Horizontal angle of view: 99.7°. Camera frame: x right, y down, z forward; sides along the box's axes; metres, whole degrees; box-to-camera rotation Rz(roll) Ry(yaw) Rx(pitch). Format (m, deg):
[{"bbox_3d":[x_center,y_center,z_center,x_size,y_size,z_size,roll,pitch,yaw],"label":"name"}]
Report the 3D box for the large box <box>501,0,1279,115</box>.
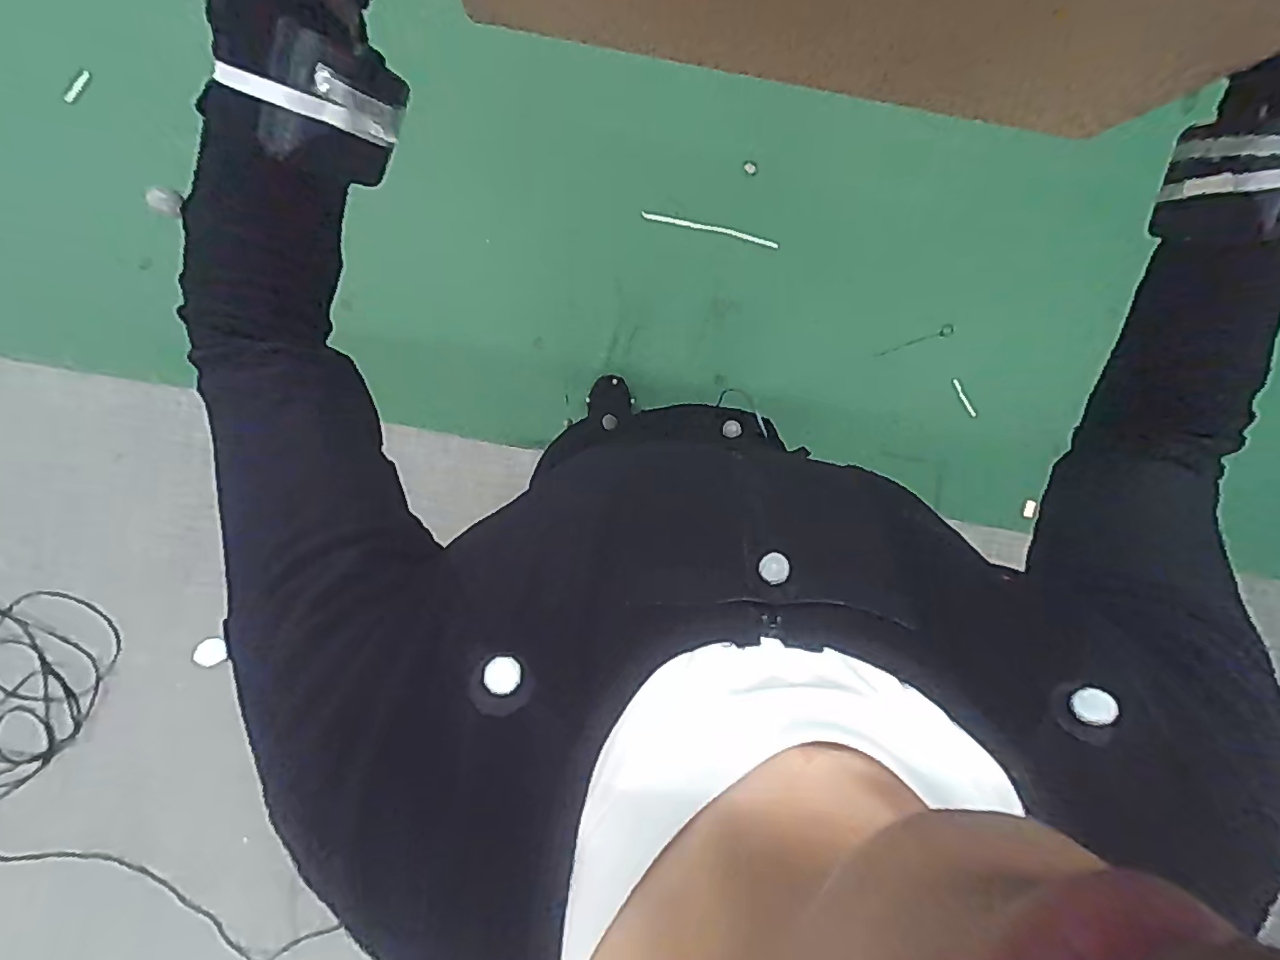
[{"bbox_3d":[0.136,-0.374,0.163,0.408,0.320,0.320,5,102,-8],"label":"large box"}]
